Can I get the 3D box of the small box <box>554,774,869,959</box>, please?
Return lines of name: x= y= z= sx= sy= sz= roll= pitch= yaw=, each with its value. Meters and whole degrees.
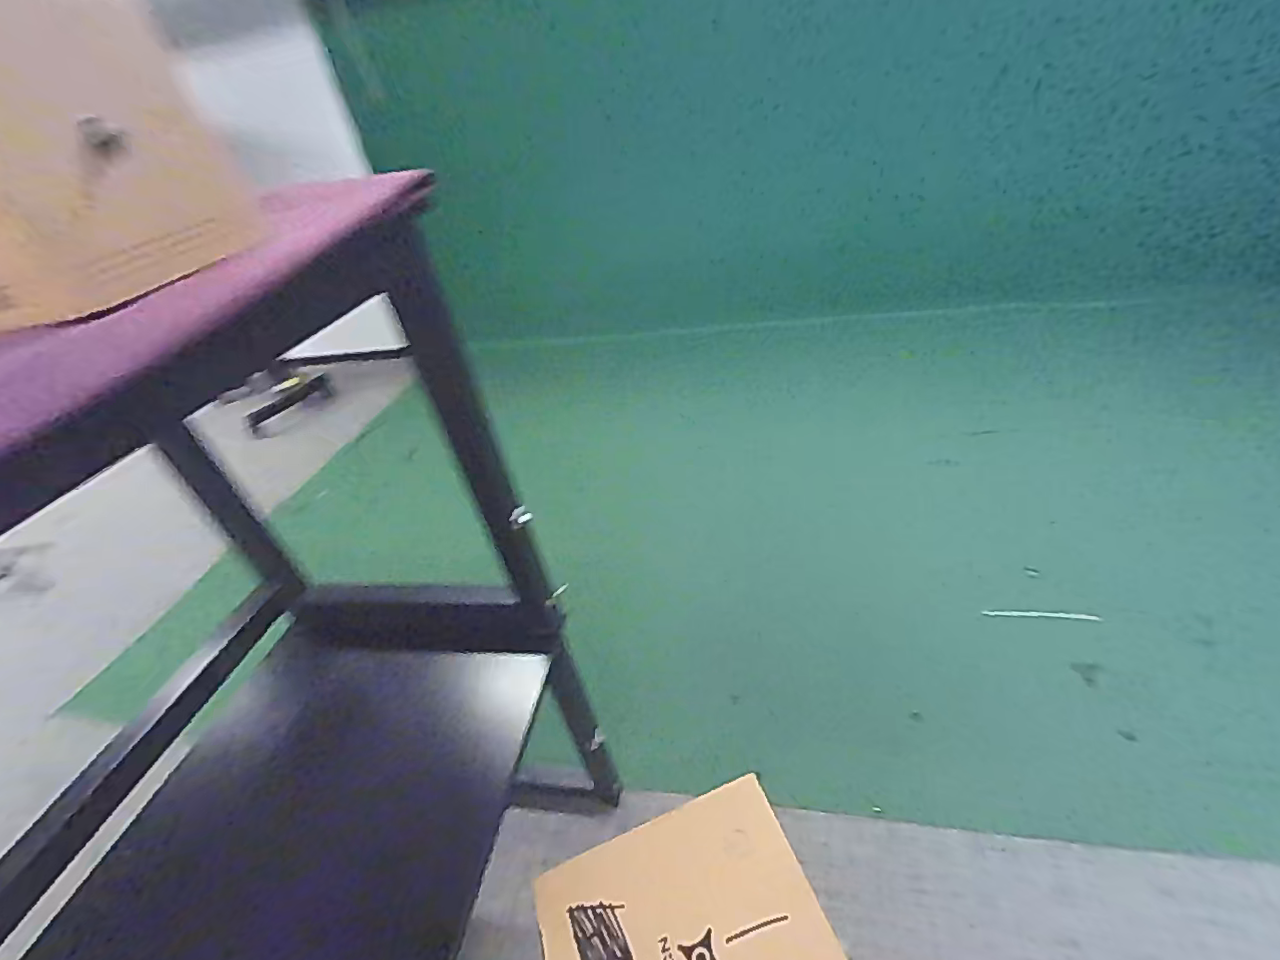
small box: x=0.061 y=0.349 z=0.367 sx=0.179 sy=0.176 sz=0.168 roll=-22 pitch=35 yaw=-6
